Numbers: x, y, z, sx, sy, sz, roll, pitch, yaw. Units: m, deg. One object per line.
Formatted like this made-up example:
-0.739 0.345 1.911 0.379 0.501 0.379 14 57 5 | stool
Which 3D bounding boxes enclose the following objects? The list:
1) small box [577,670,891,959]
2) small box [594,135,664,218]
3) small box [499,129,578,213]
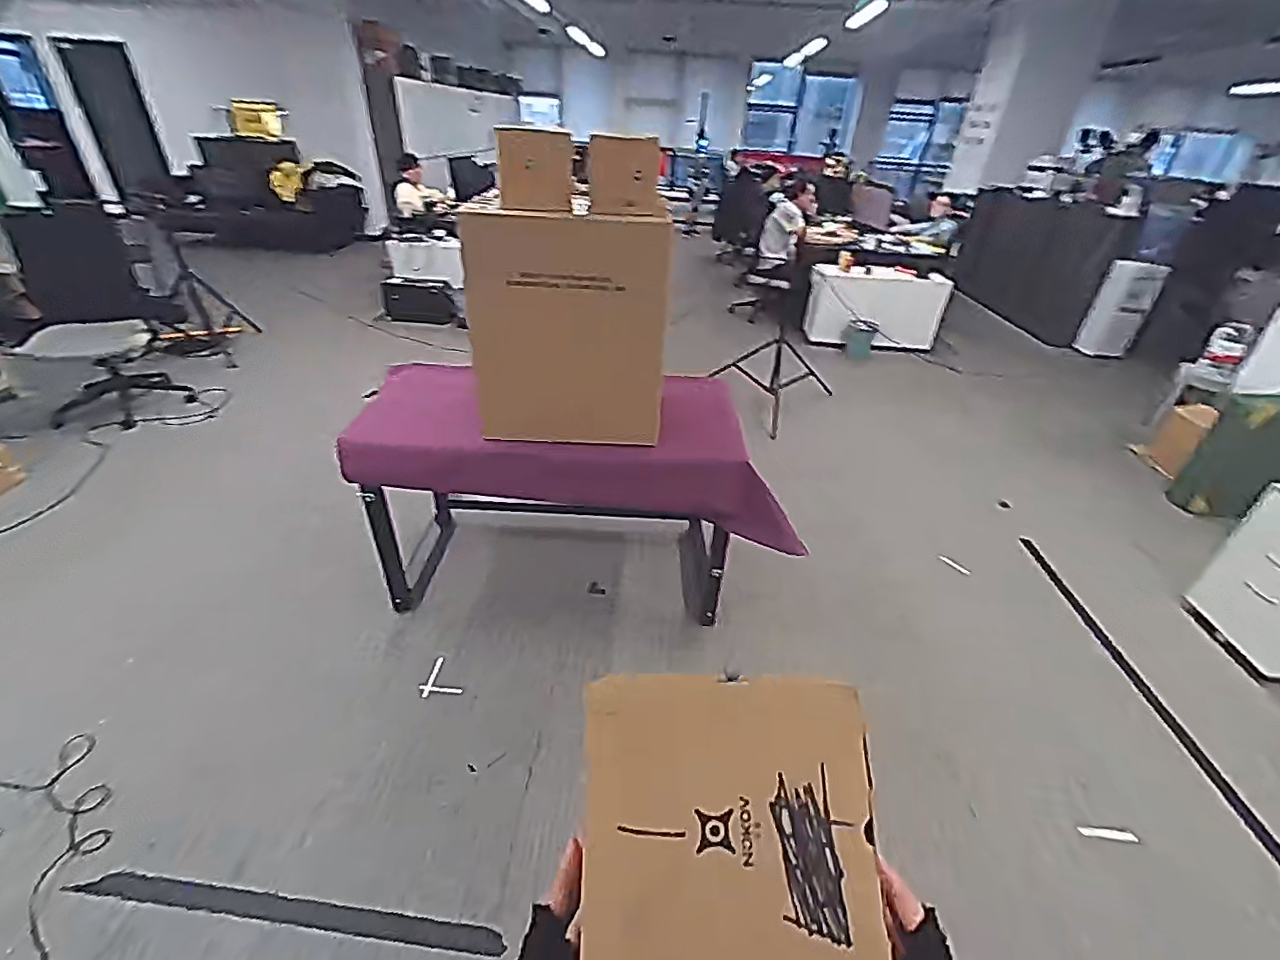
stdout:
0.053 0.228 0.395 0.179 0.176 0.168 -1 71 1 | small box
-0.028 -0.767 1.365 0.168 0.176 0.179 3 33 -2 | small box
-0.252 -0.770 1.348 0.179 0.176 0.168 -5 36 -14 | small box
